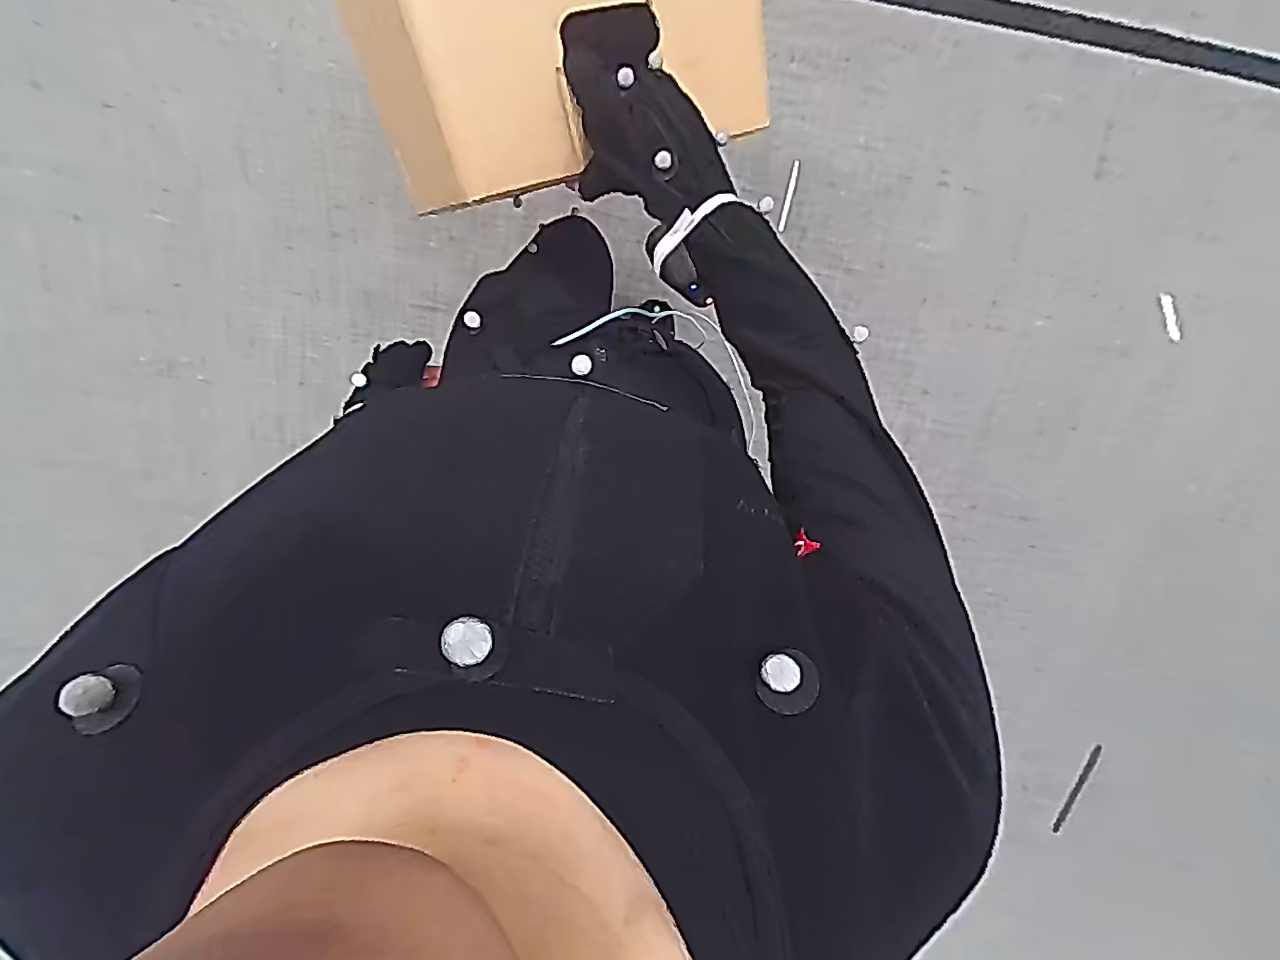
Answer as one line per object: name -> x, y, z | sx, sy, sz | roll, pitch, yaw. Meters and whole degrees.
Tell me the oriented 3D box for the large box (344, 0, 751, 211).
large box -> -0.129, -0.499, 0.591 | 0.320, 0.408, 0.320 | -23, 122, -18
